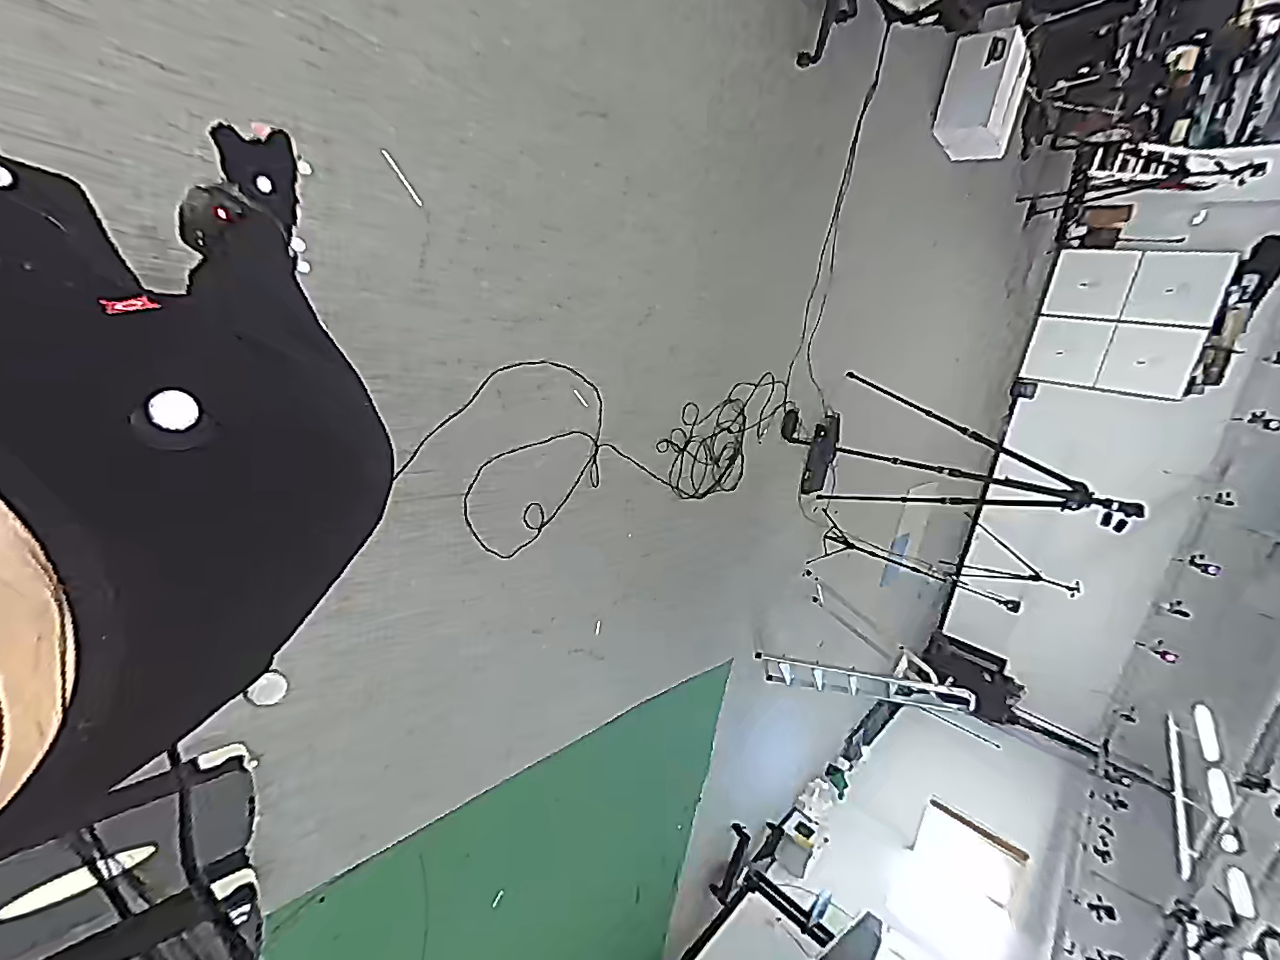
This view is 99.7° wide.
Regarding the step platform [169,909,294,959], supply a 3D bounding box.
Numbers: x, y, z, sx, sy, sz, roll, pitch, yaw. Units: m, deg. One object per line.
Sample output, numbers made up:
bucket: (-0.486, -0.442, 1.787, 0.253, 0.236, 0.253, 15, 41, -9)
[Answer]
step platform: (-1.160, 1.308, 1.185, 0.684, 0.204, 0.286, -7, 111, -49)
